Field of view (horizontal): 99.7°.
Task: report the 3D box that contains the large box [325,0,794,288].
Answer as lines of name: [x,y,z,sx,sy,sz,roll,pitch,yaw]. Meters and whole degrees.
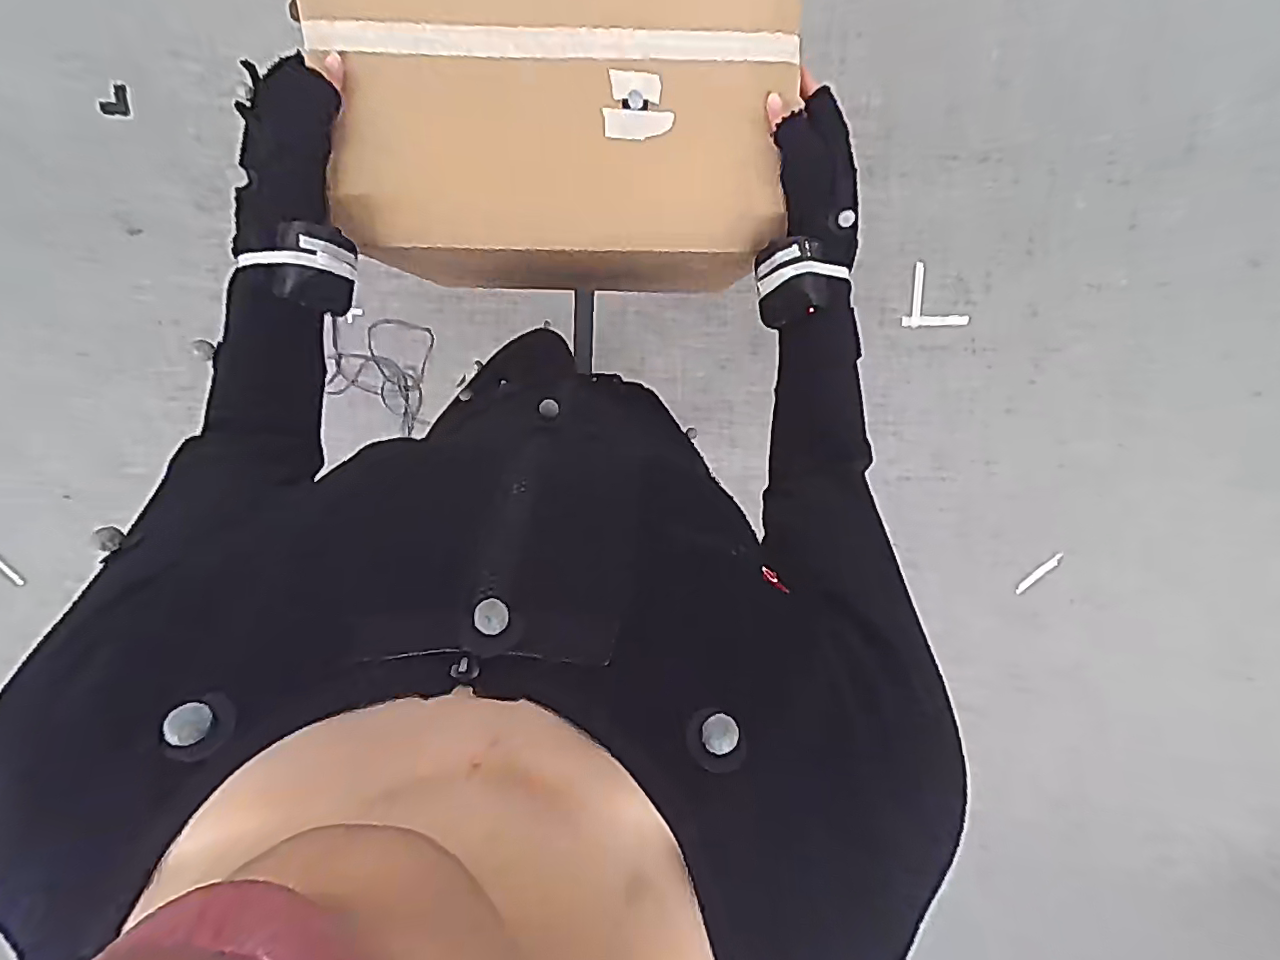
large box: [-0.074,-0.399,0.611,0.408,0.320,0.320,0,104,-3]
